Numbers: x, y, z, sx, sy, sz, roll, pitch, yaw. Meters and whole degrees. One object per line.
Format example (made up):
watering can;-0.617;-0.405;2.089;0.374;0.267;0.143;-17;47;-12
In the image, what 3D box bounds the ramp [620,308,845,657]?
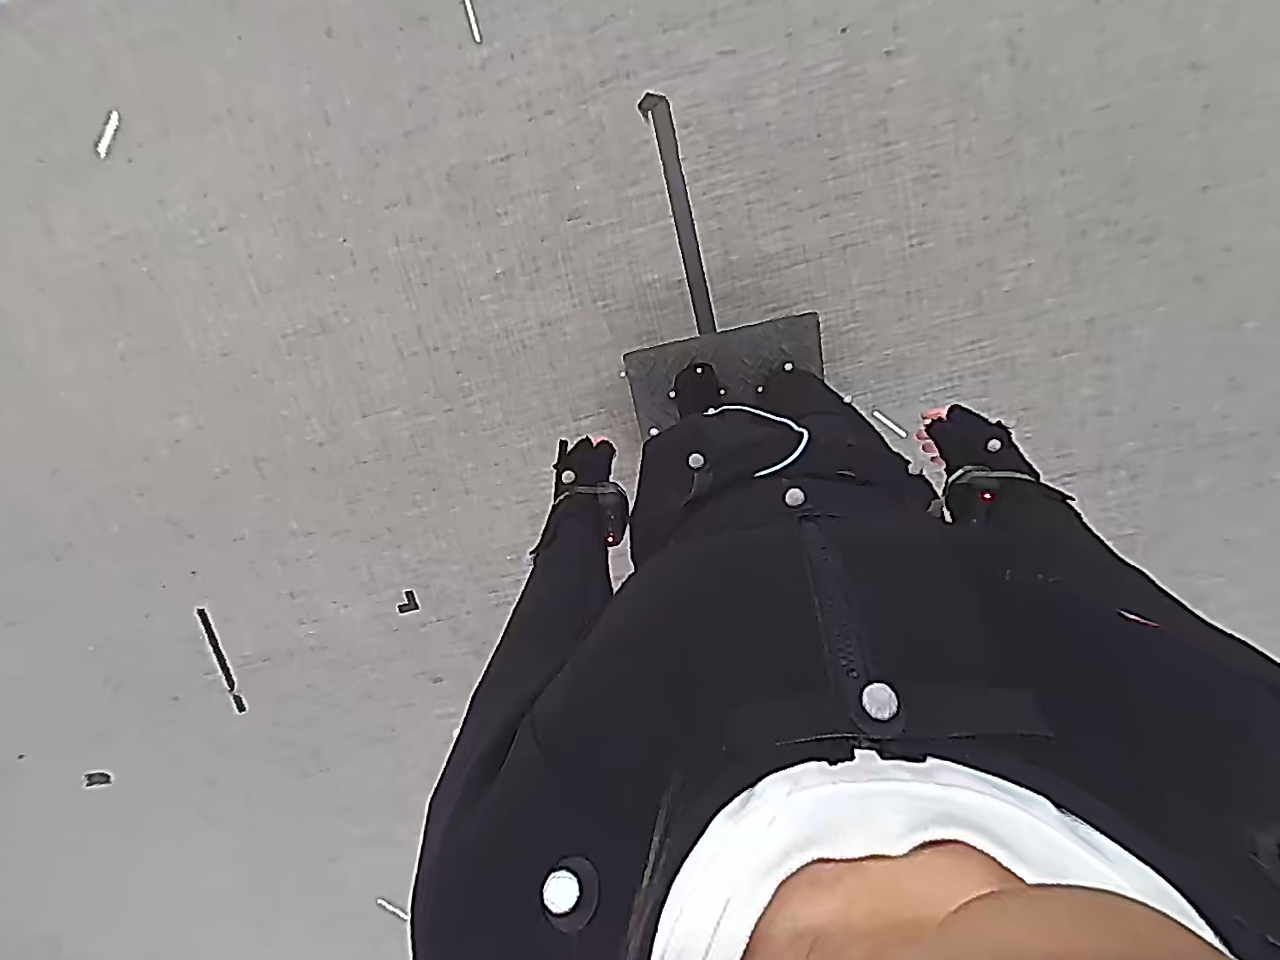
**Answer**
ramp;0.296;0.073;1.522;0.509;0.206;0.991;-13;102;6
